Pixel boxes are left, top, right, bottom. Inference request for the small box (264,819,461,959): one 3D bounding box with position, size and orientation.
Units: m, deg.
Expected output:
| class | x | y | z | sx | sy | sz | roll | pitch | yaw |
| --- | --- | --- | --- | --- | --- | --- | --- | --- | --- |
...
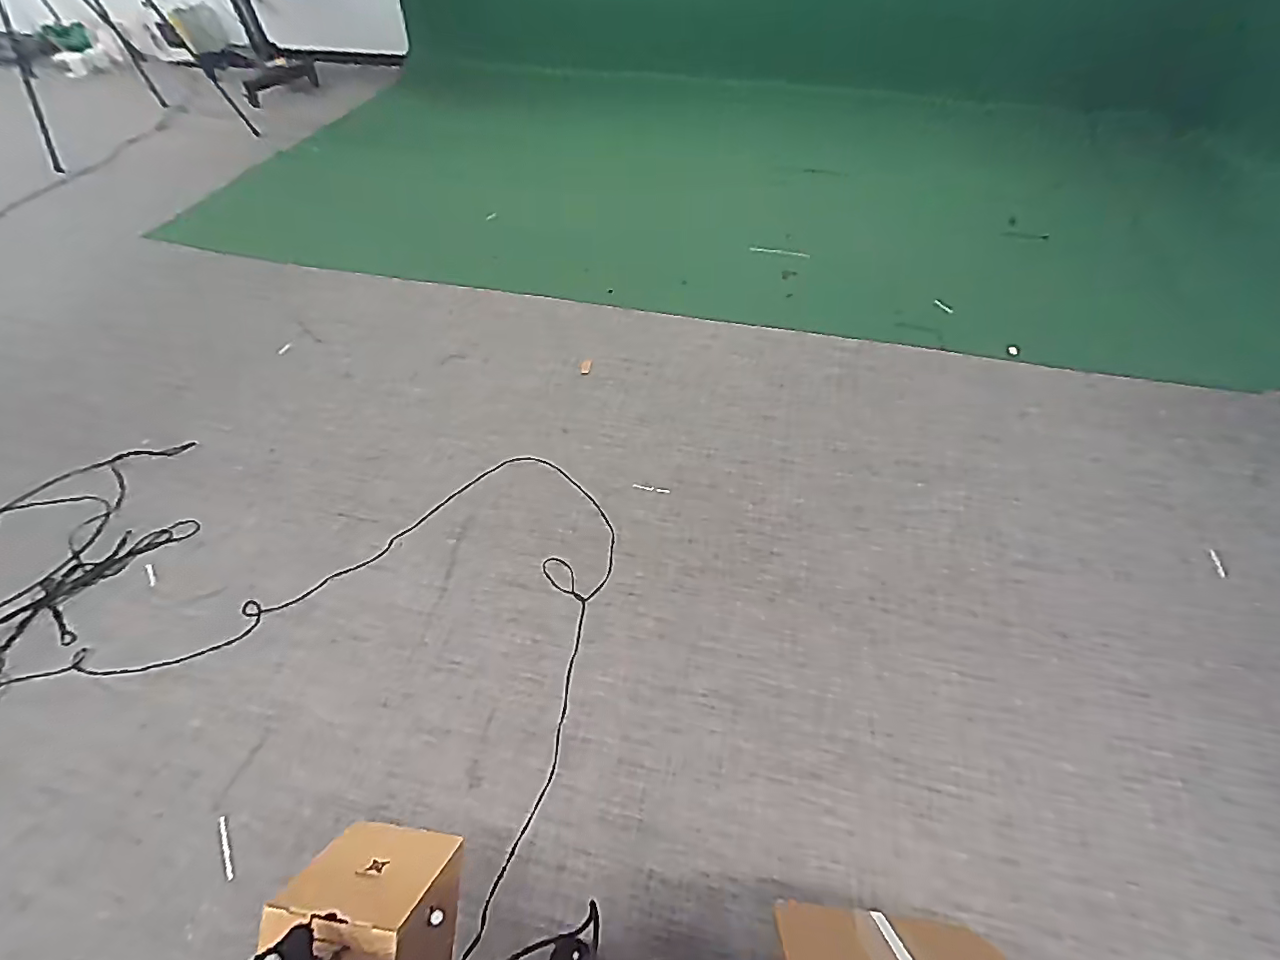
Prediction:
| class | x | y | z | sx | sy | sz | roll | pitch | yaw |
| --- | --- | --- | --- | --- | --- | --- | --- | --- | --- |
| small box | -0.351 | 0.578 | 0.688 | 0.168 | 0.179 | 0.176 | 5 | 88 | 6 |
